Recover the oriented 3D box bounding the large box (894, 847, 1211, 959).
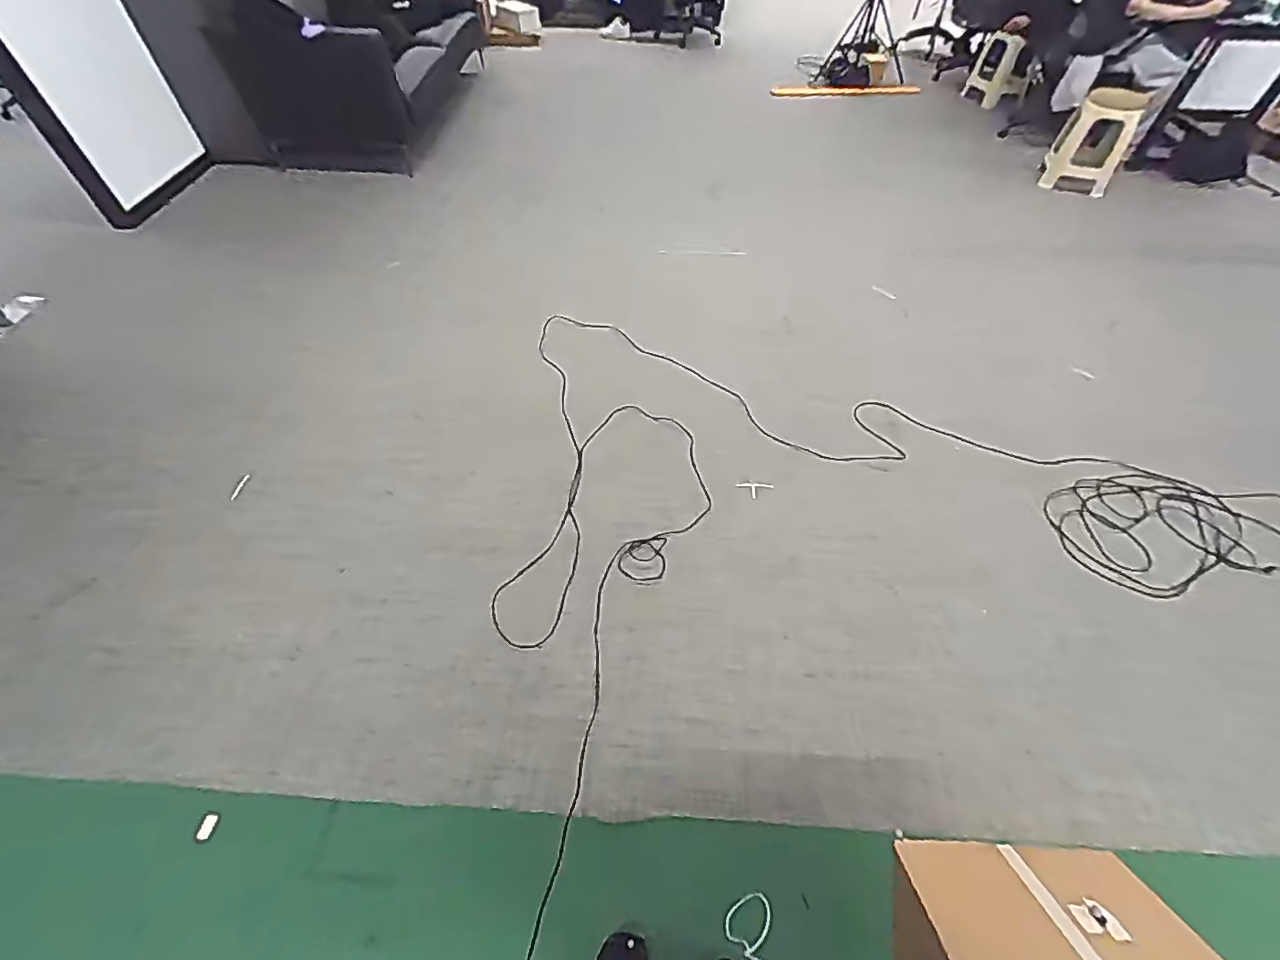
[{"bbox_3d":[0.526,0.721,0.625,0.320,0.408,0.320,-1,92,7],"label":"large box"}]
